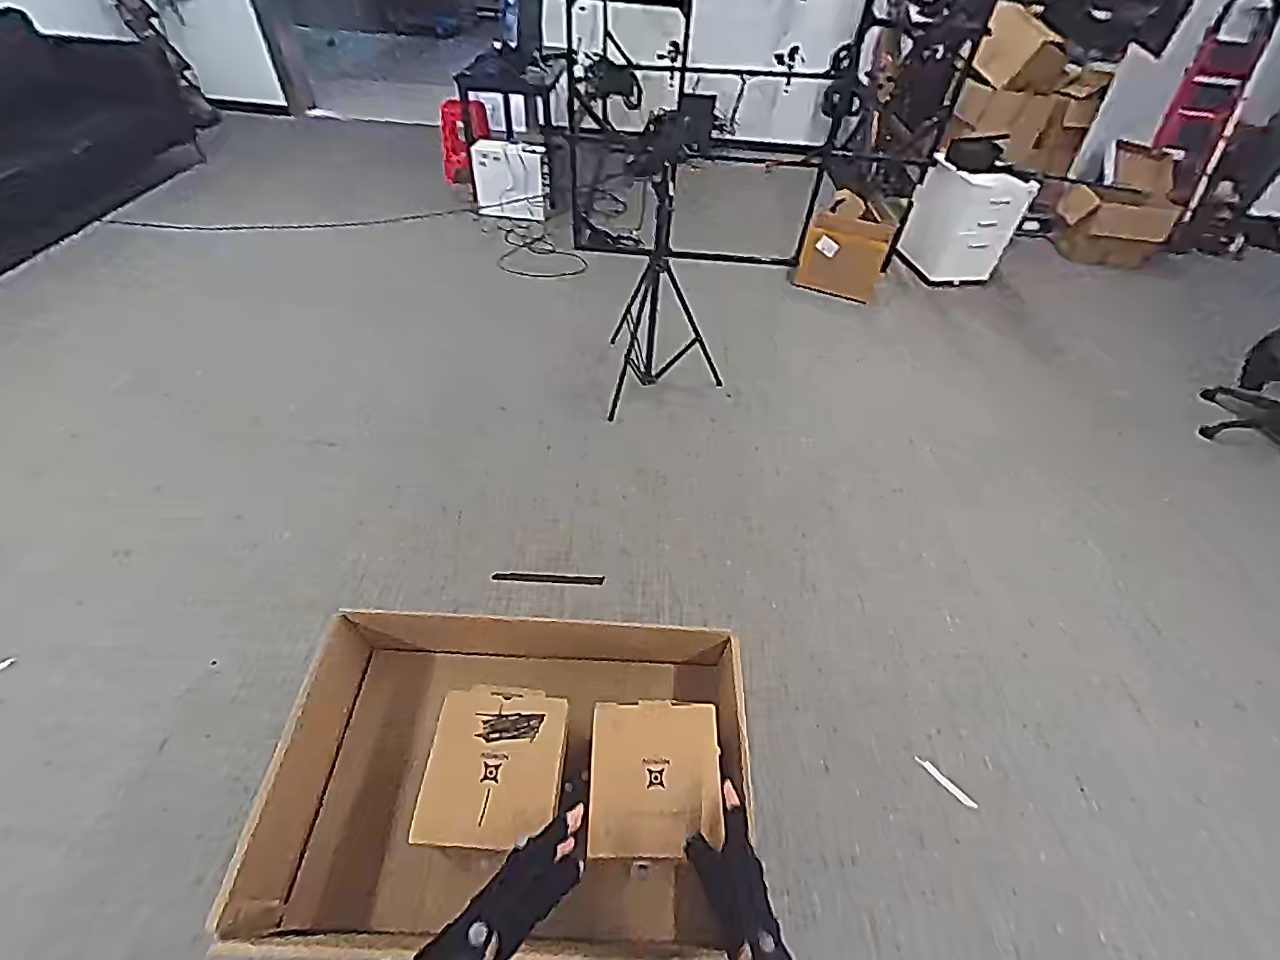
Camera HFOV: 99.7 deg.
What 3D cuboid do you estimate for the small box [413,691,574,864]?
[{"bbox_3d":[-0.183,0.408,0.739,0.168,0.176,0.179,4,52,0],"label":"small box"}]
